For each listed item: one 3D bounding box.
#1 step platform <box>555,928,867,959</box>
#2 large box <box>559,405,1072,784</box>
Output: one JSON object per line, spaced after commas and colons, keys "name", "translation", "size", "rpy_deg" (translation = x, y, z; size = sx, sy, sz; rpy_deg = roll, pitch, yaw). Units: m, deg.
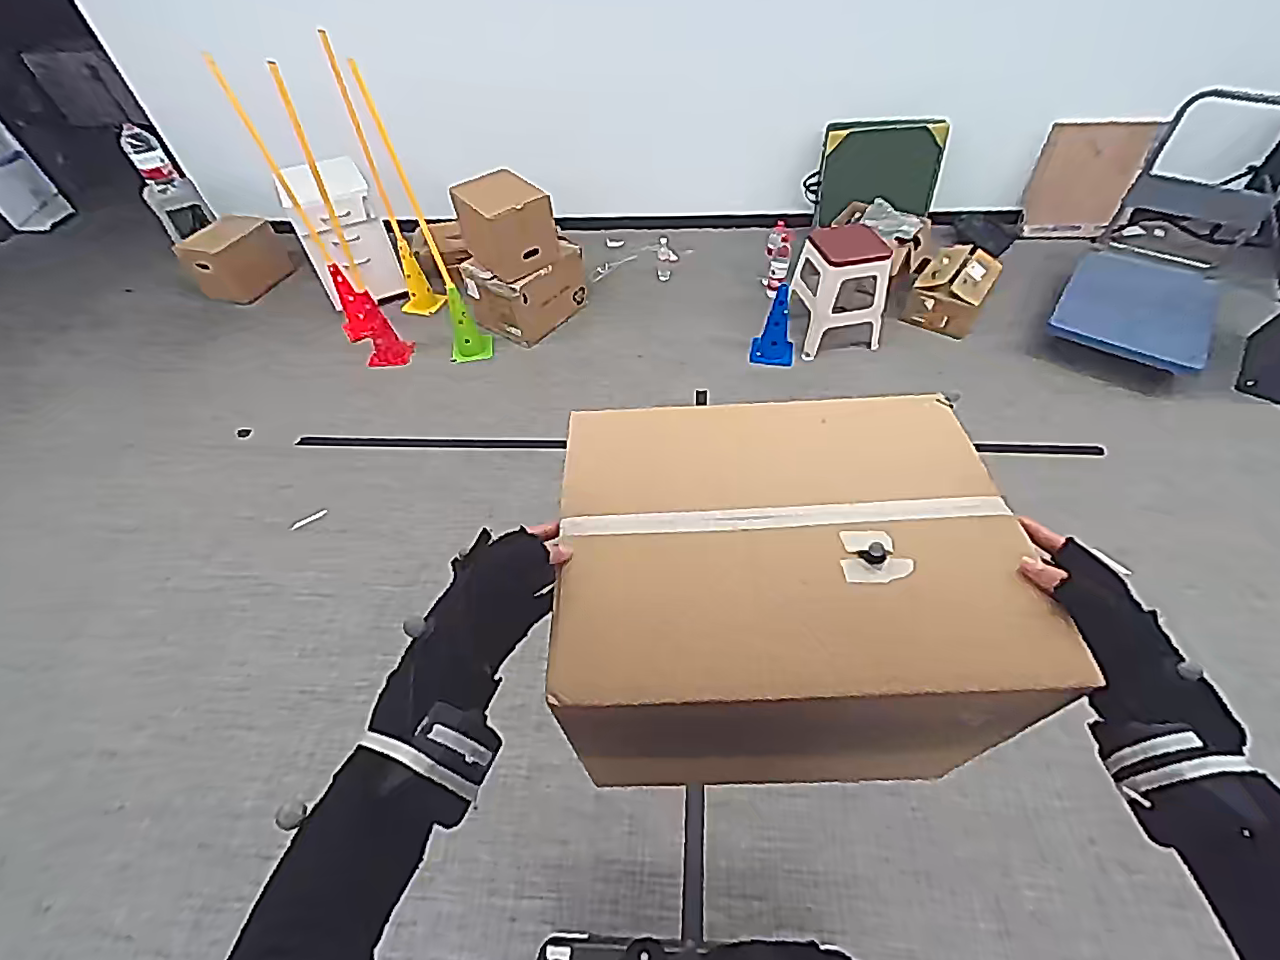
{"name": "step platform", "translation": [0.146, 1.116, 1.109], "size": [0.684, 0.204, 0.286], "rpy_deg": [0, 50, 2]}
{"name": "large box", "translation": [0.134, 0.138, 0.620], "size": [0.408, 0.320, 0.320], "rpy_deg": [-2, 51, 1]}
